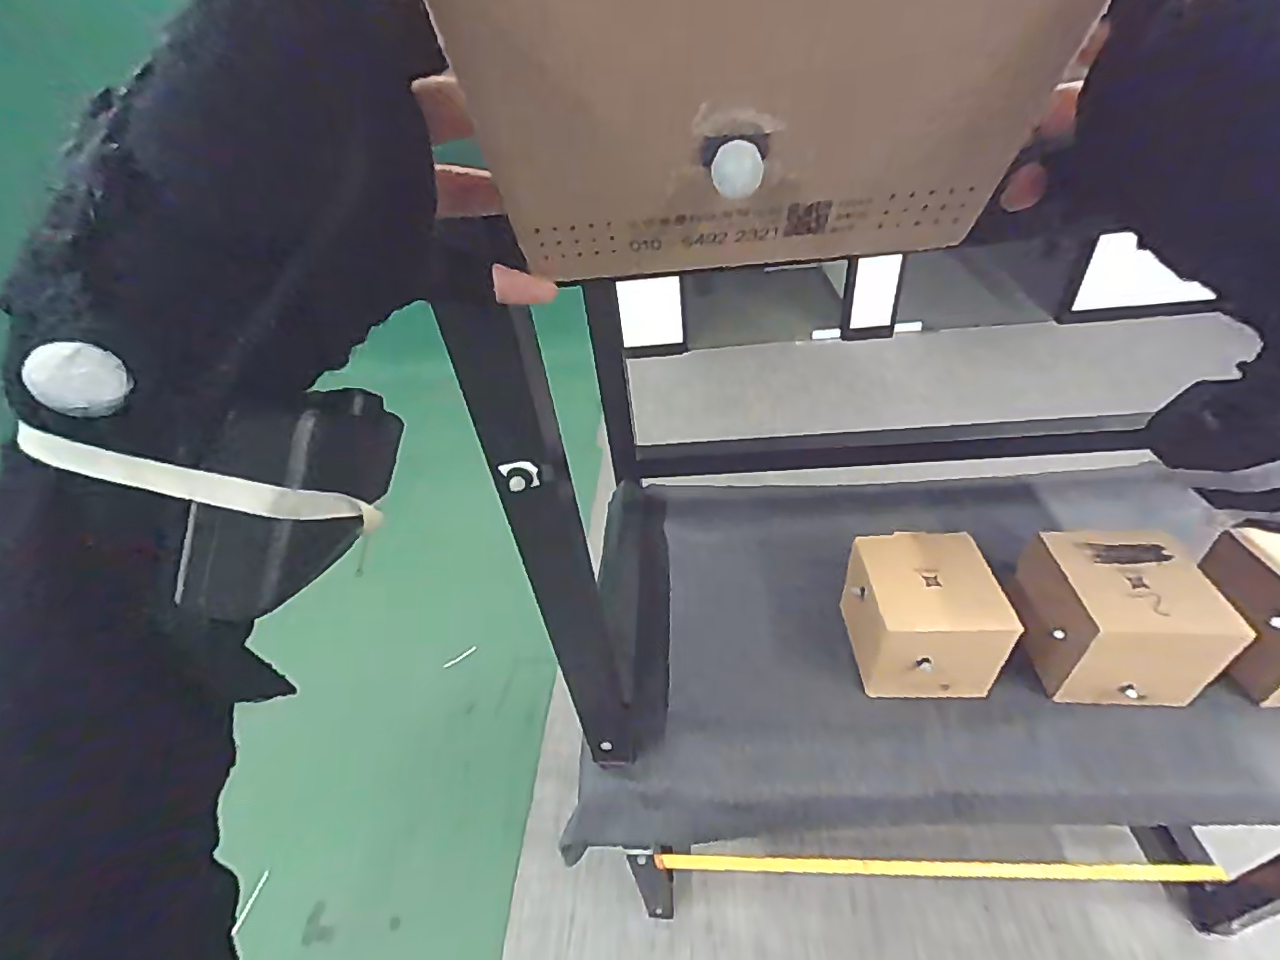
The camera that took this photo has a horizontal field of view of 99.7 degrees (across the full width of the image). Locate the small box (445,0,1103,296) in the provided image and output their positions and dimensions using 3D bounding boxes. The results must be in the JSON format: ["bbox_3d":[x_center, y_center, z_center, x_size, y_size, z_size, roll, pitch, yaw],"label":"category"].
[{"bbox_3d":[0.029,-0.186,0.169,0.168,0.176,0.179,-4,69,5],"label":"small box"}]

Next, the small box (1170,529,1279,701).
[{"bbox_3d":[0.899,0.185,0.732,0.168,0.176,0.179,-3,37,6],"label":"small box"}]

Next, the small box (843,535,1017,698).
[{"bbox_3d":[0.411,0.204,0.802,0.168,0.176,0.179,-3,38,7],"label":"small box"}]
